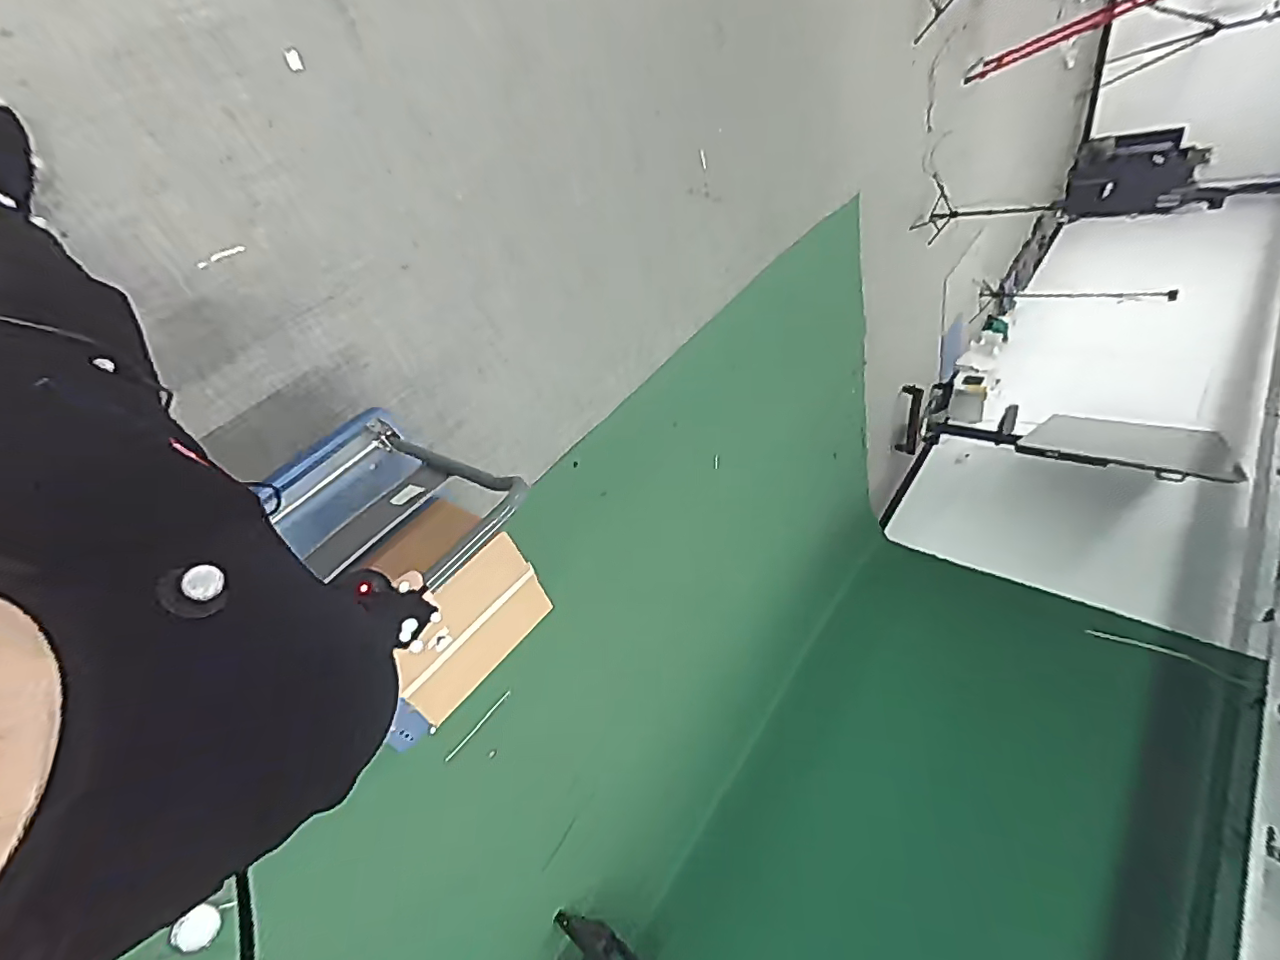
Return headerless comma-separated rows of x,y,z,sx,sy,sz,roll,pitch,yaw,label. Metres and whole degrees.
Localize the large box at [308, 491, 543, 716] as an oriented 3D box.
-0.533,0.295,1.388,0.408,0.320,0.320,-45,133,-28,large box
